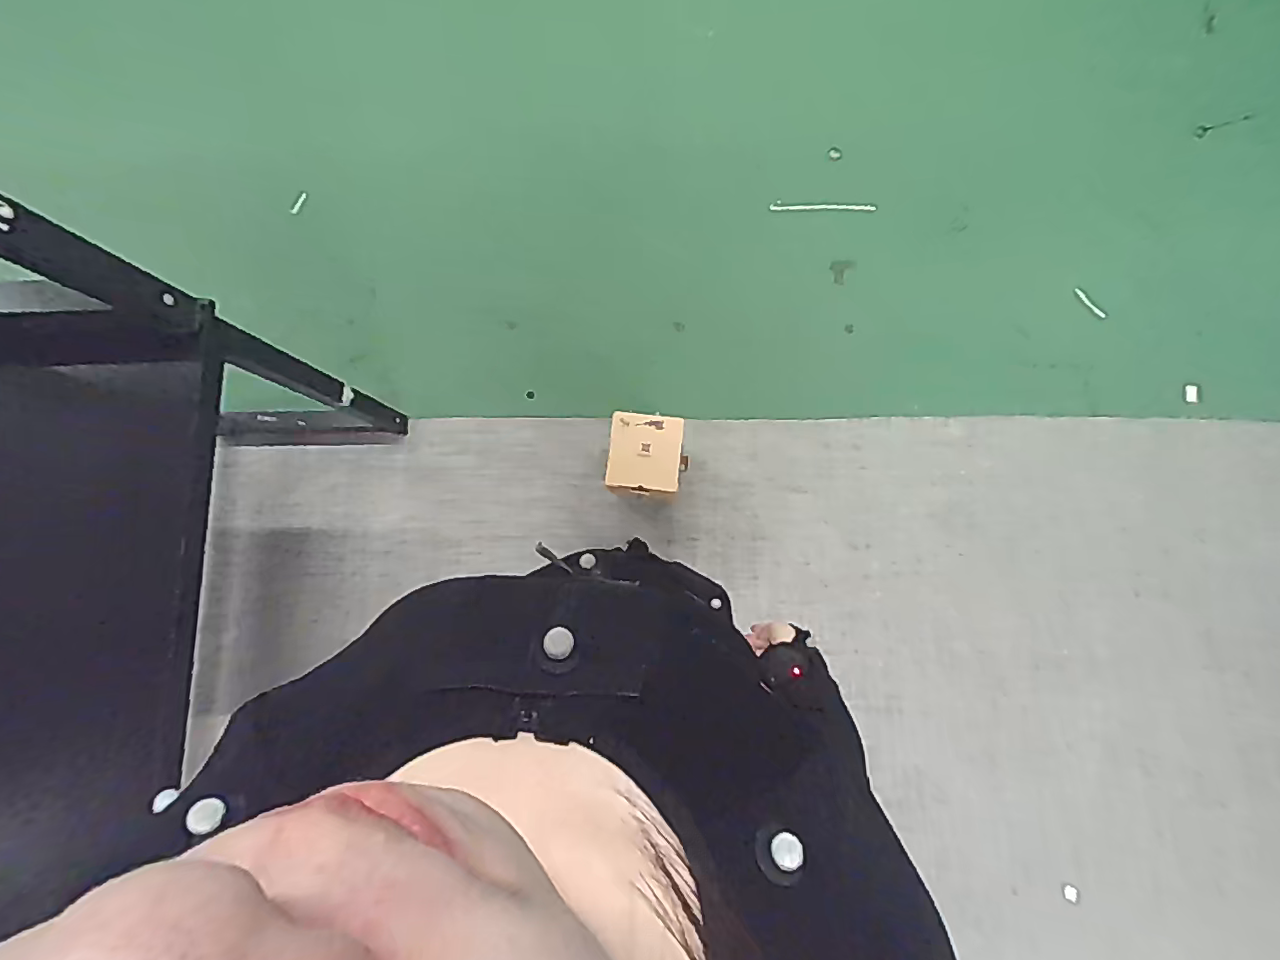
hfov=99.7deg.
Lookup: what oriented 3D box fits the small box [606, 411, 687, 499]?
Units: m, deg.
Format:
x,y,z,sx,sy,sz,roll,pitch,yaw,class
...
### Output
x,y,z,sx,sy,sz,roll,pitch,yaw,class
0.020,-0.053,1.288,0.168,0.176,0.179,7,83,4,small box
